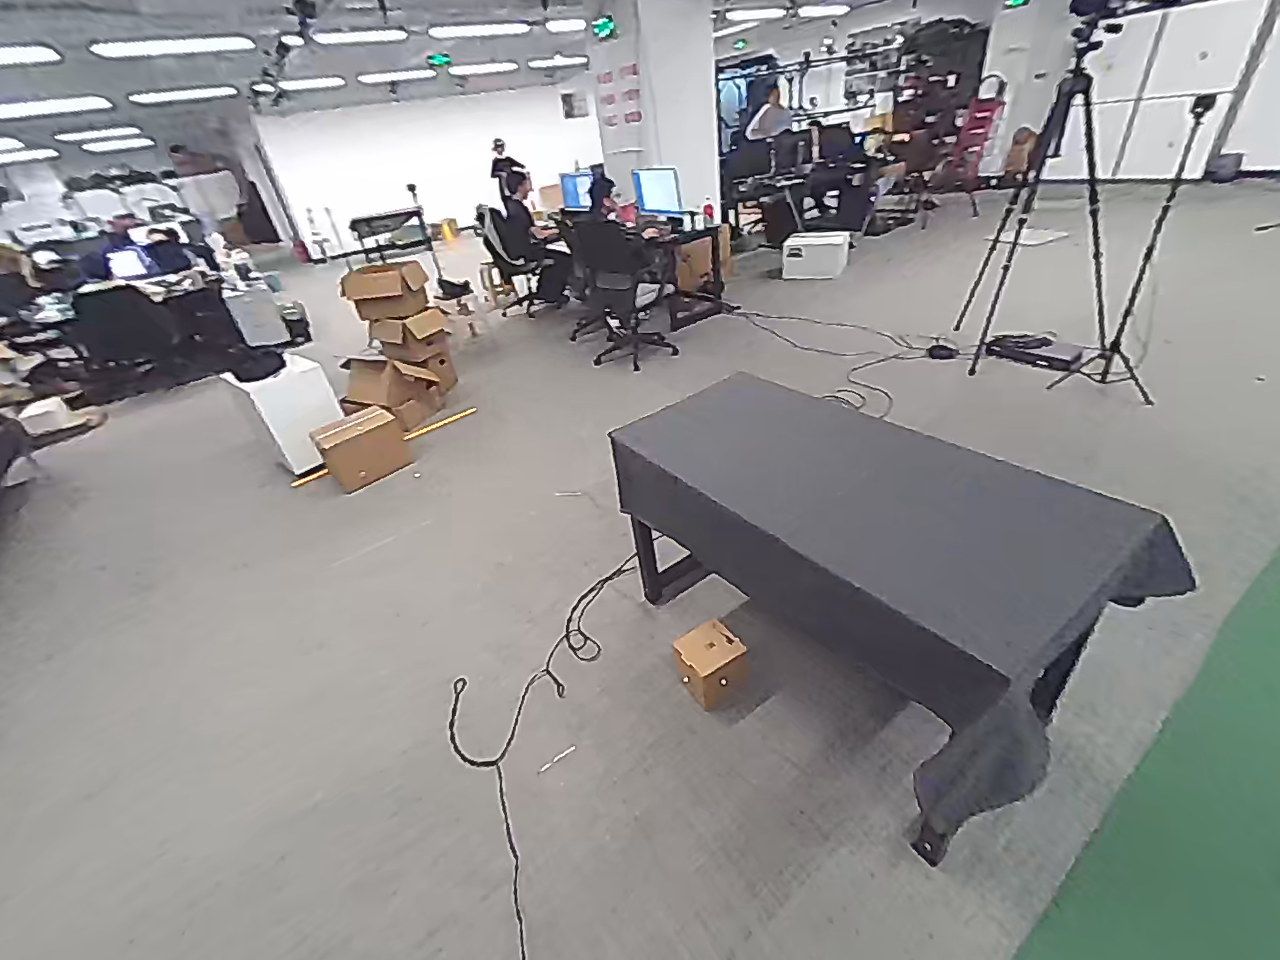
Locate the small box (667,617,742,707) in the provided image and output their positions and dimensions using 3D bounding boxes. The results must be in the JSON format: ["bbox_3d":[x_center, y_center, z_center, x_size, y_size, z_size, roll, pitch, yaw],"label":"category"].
[{"bbox_3d":[0.209,0.577,1.712,0.179,0.176,0.168,-23,35,-22],"label":"small box"}]
